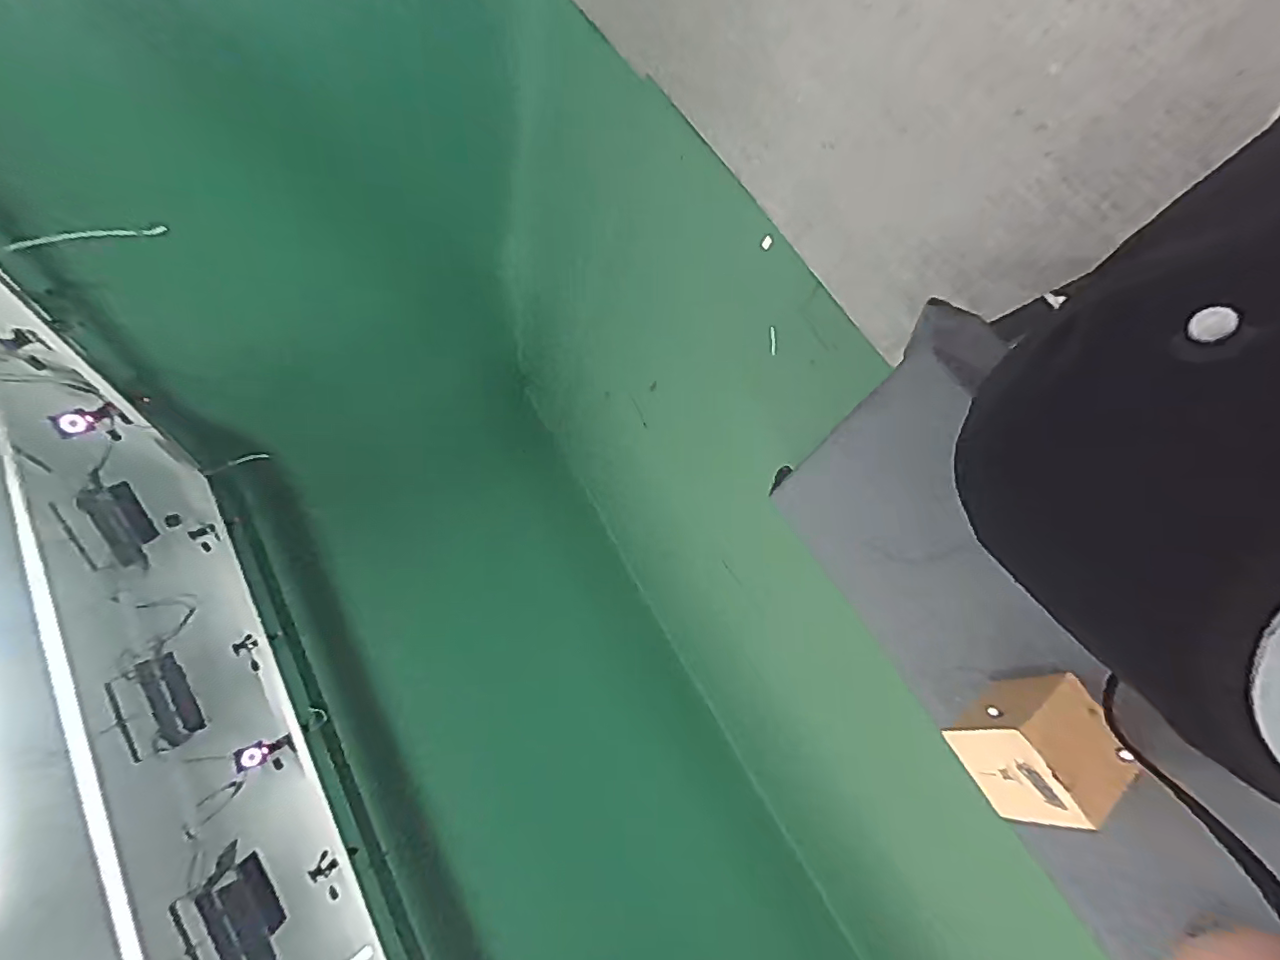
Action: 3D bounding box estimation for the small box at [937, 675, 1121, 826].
[{"bbox_3d":[0.675,0.457,0.936,0.168,0.176,0.179,57,155,15],"label":"small box"}]

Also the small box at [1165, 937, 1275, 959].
[{"bbox_3d":[0.922,0.841,0.808,0.168,0.176,0.179,58,154,17],"label":"small box"}]
